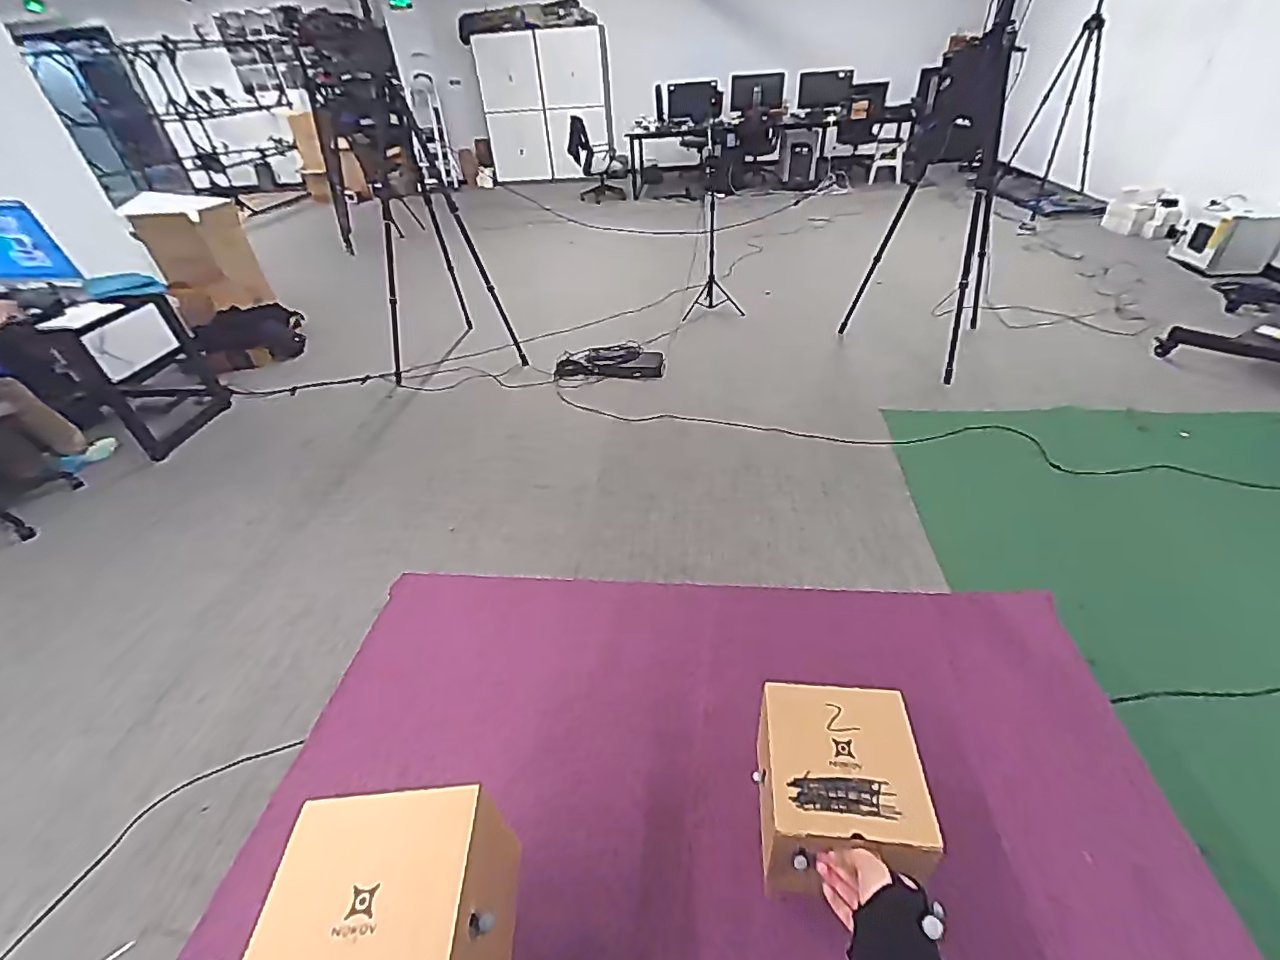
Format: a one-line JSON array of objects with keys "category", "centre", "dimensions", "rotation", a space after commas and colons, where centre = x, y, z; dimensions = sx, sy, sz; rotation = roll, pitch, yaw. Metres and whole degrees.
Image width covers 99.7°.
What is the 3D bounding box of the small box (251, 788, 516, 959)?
[{"category": "small box", "centre": [-0.218, 0.414, 0.495], "dimensions": [0.168, 0.176, 0.179], "rotation": [-6, 39, 1]}]
